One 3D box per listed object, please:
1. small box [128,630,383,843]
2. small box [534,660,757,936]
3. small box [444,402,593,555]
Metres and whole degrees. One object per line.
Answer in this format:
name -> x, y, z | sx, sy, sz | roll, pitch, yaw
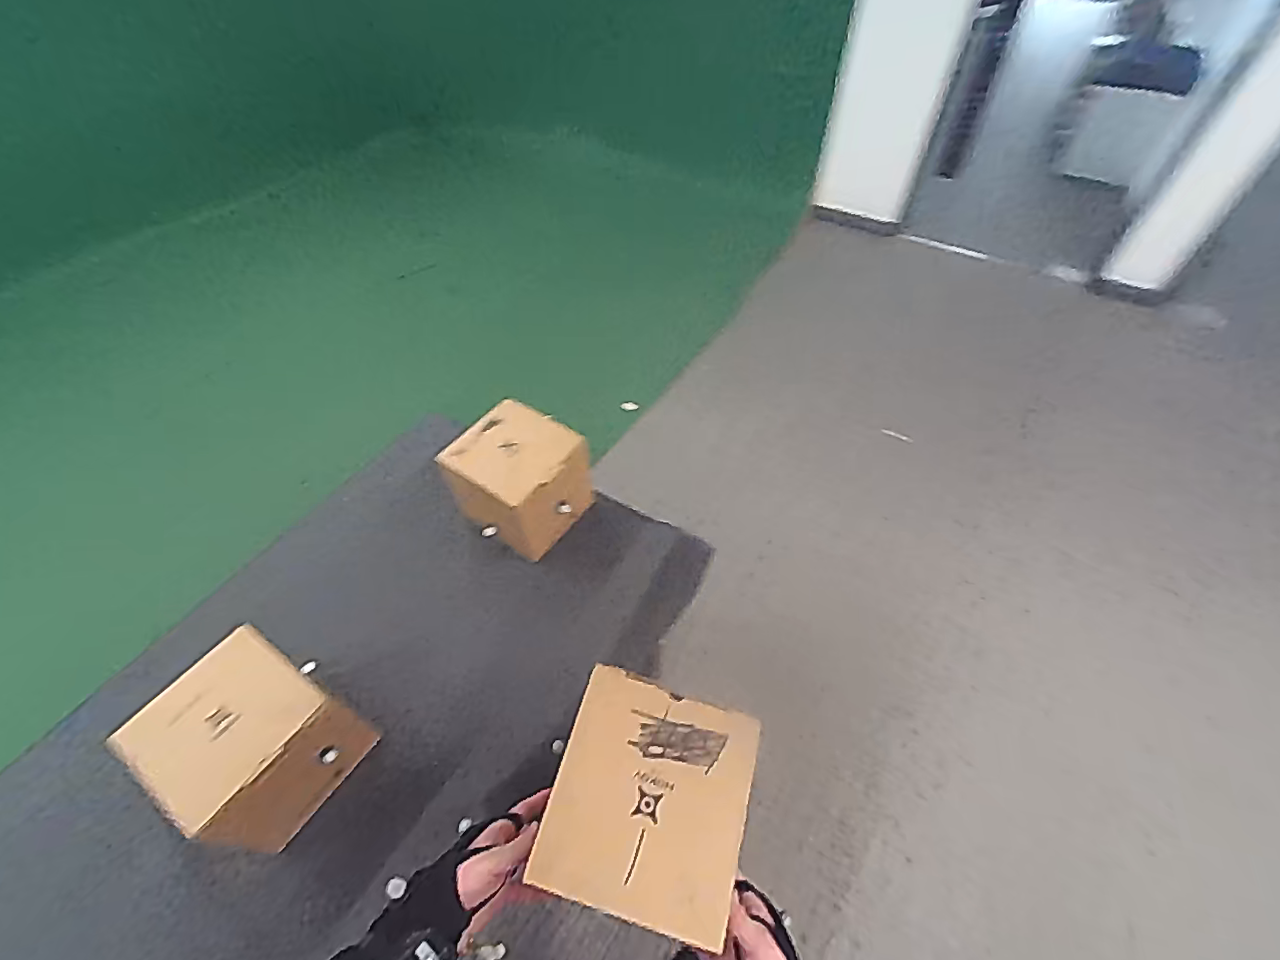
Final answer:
small box -> -0.470, 0.331, 0.692 | 0.179, 0.176, 0.168 | 26, 56, 21
small box -> 0.003, 0.306, 0.541 | 0.168, 0.176, 0.179 | 16, 60, 2
small box -> -0.197, 0.004, 0.933 | 0.179, 0.176, 0.168 | 30, 59, 21
